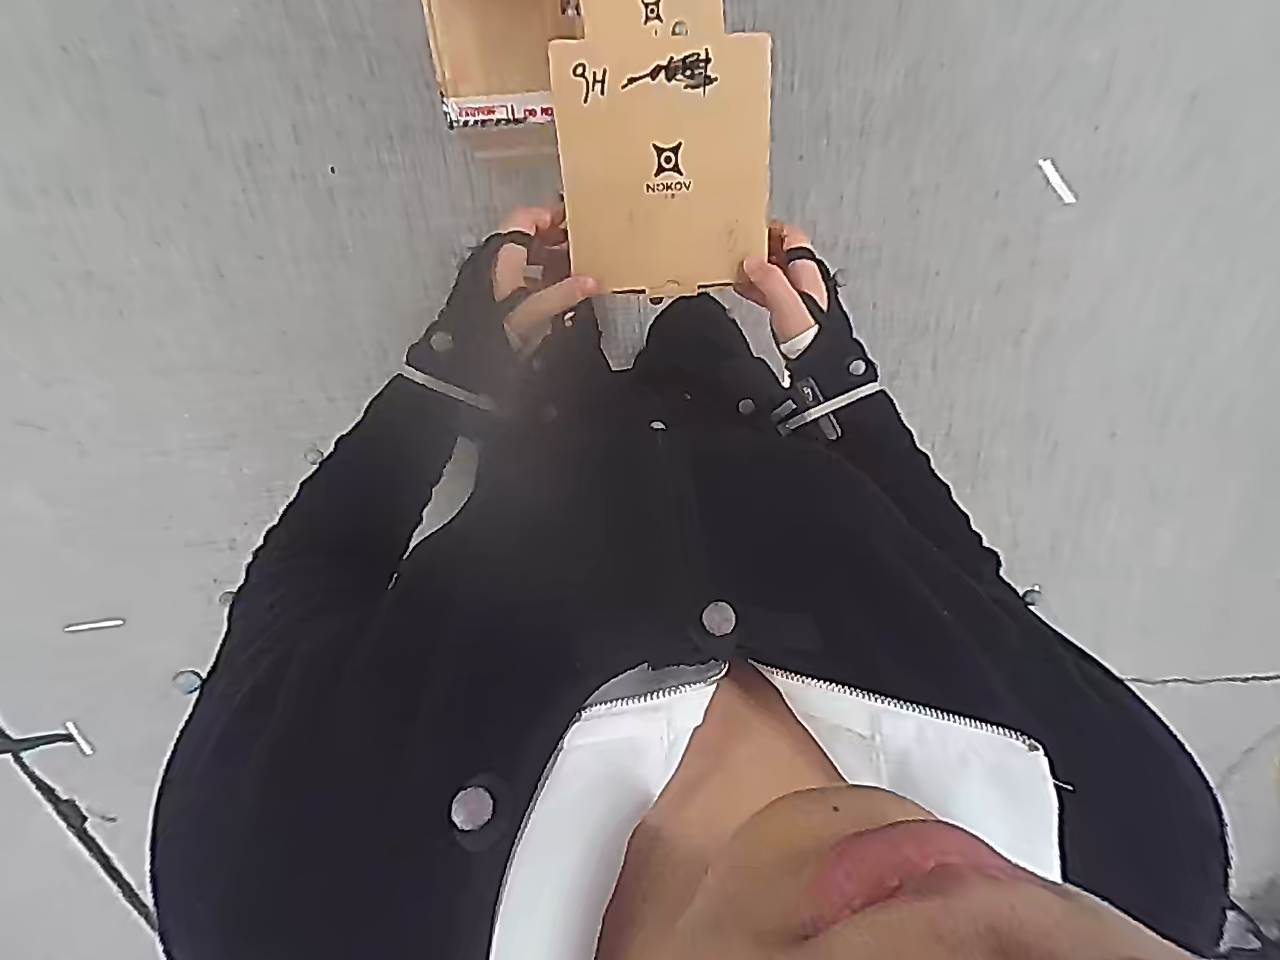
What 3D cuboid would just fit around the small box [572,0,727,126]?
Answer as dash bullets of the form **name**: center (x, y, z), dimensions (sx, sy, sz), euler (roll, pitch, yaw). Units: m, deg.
- **small box**: center (0.006, -0.576, 0.688), dimensions (0.168, 0.176, 0.179), euler (-10, 116, -3)
